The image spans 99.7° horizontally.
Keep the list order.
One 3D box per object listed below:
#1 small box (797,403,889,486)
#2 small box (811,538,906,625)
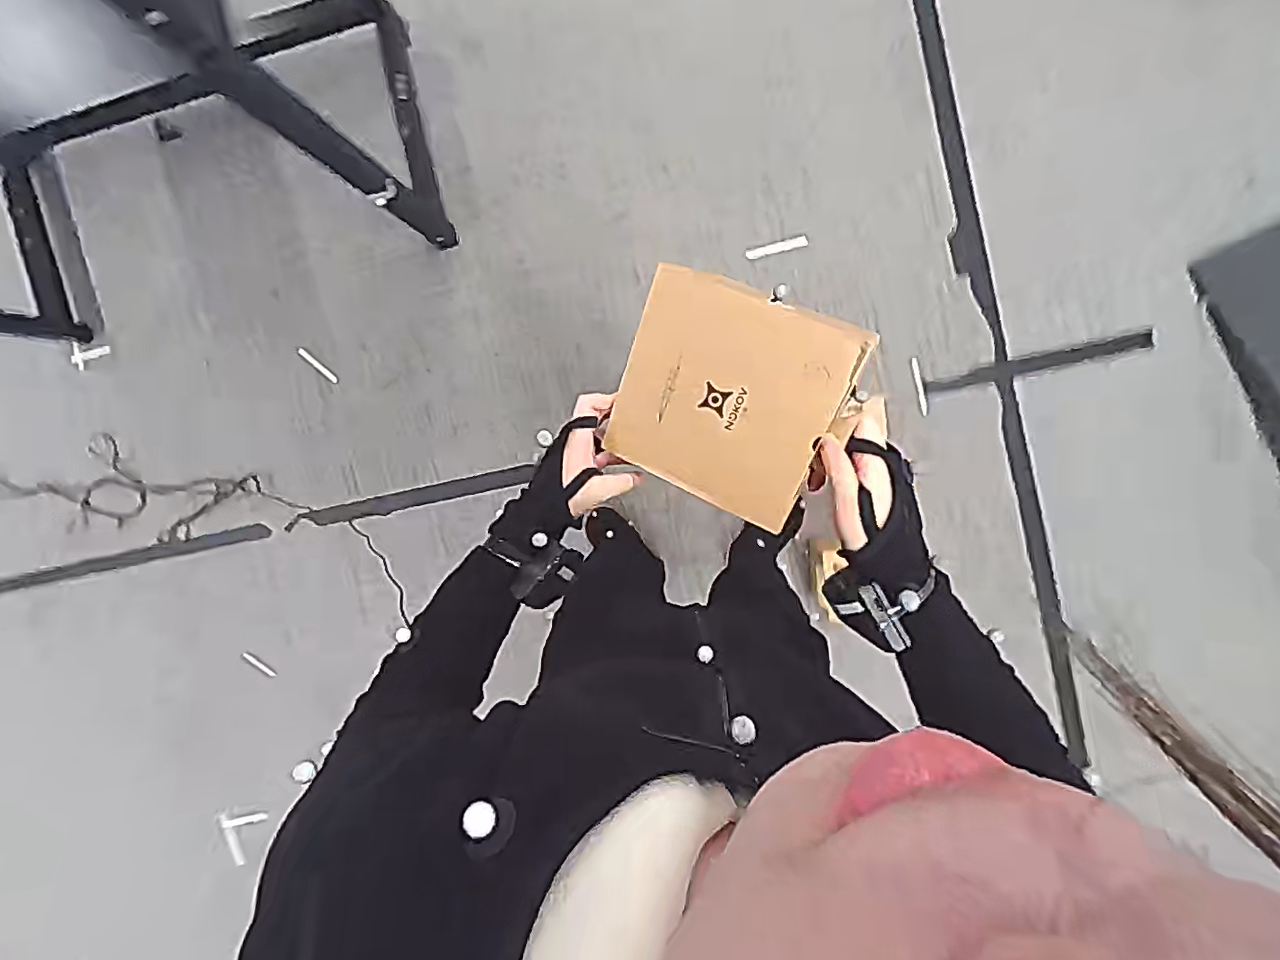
[{"bbox_3d":[0.477,-0.088,1.286,0.168,0.176,0.179,-6,95,6],"label":"small box"},{"bbox_3d":[0.520,0.241,1.313,0.179,0.176,0.168,-6,95,5],"label":"small box"}]
